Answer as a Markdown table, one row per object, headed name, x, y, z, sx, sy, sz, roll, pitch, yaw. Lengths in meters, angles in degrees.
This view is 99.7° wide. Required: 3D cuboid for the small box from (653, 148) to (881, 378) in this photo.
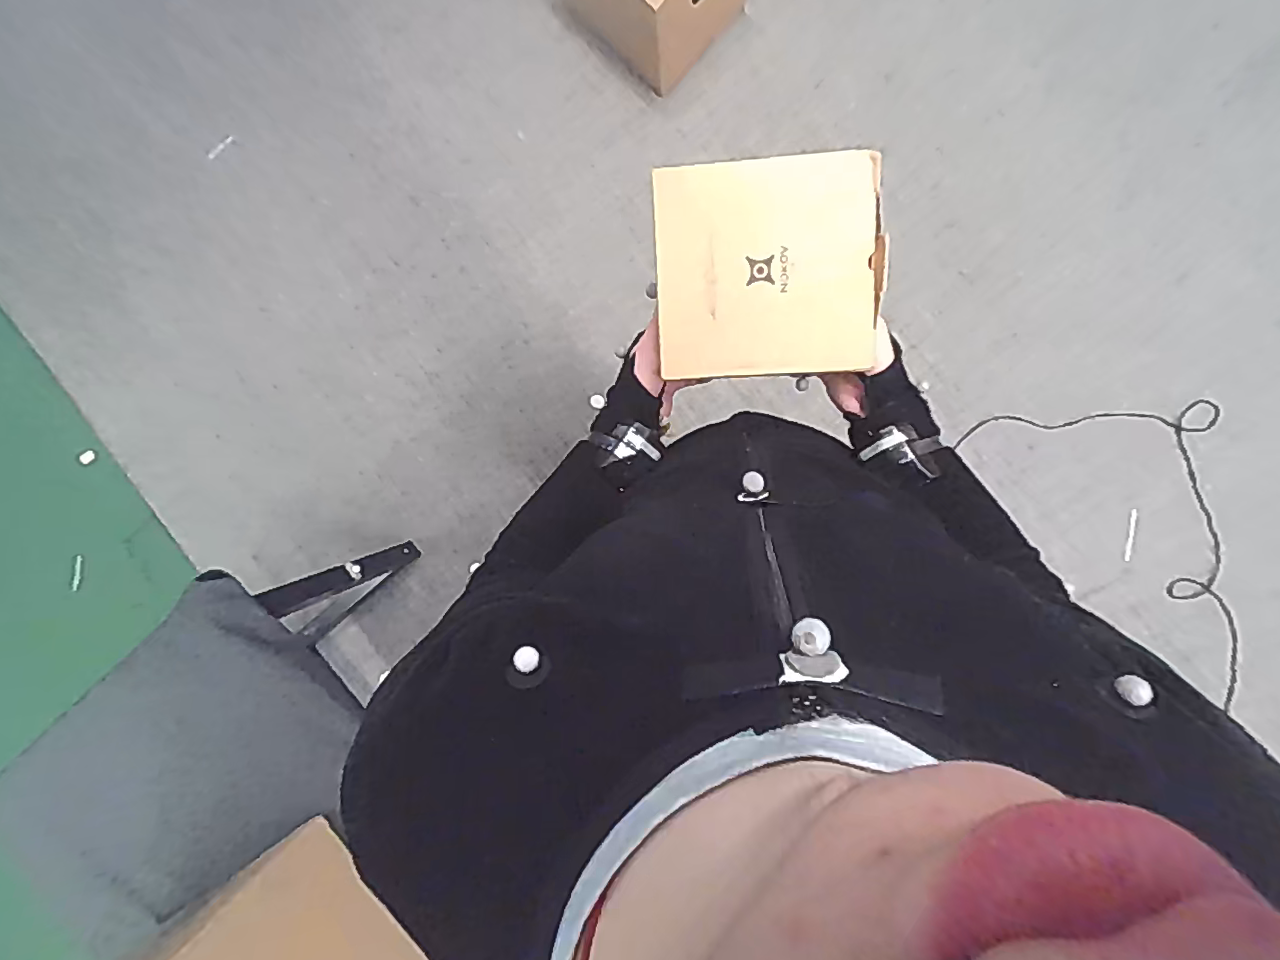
| name | x | y | z | sx | sy | sz | roll | pitch | yaw |
| --- | --- | --- | --- | --- | --- | --- | --- | --- | --- |
| small box | 0.107 | -0.184 | 0.508 | 0.179 | 0.176 | 0.168 | -2 | 100 | 7 |
